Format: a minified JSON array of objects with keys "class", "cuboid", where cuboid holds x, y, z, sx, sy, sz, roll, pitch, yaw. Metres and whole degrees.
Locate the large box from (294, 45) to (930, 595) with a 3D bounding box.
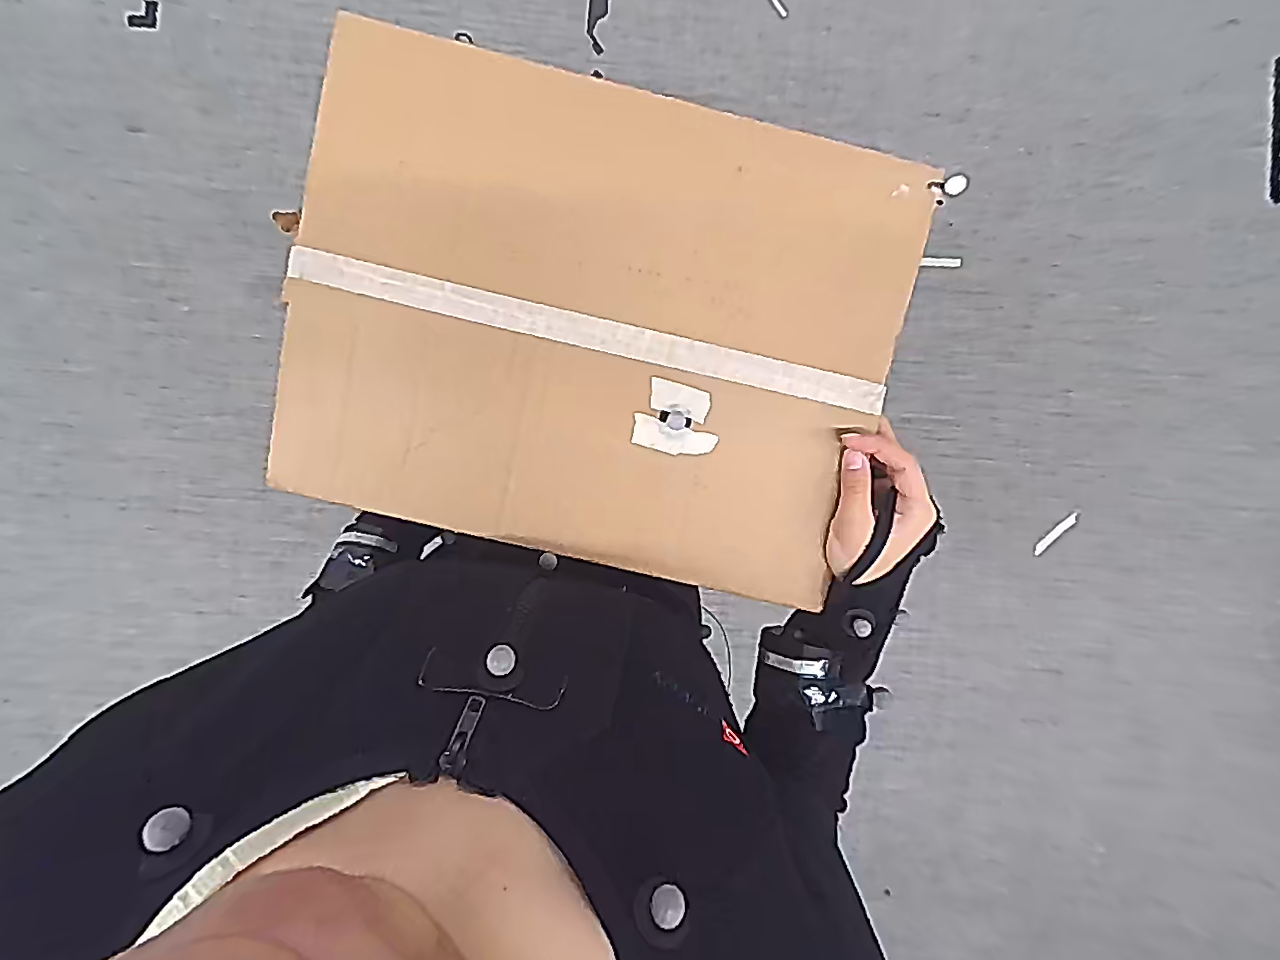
[{"class":"large box","cuboid":[-0.029,-0.116,0.525,0.408,0.320,0.320,12,97,-3]}]
